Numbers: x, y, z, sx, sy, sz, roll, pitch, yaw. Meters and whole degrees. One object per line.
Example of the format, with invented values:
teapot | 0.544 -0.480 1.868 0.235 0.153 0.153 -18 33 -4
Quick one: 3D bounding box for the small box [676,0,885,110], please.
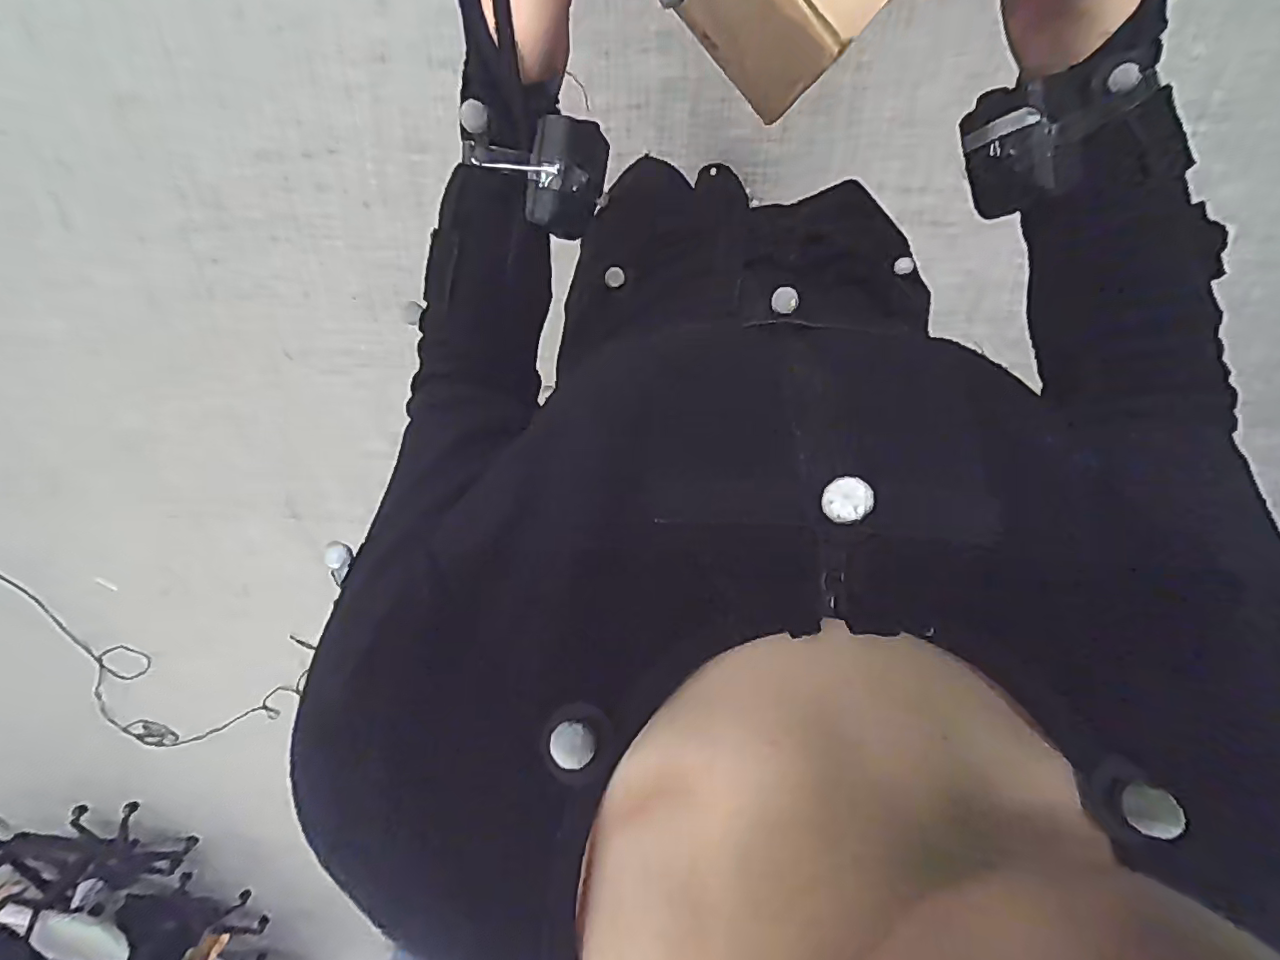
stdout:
small box | 0.081 -0.311 0.242 0.168 0.176 0.179 42 111 -15
